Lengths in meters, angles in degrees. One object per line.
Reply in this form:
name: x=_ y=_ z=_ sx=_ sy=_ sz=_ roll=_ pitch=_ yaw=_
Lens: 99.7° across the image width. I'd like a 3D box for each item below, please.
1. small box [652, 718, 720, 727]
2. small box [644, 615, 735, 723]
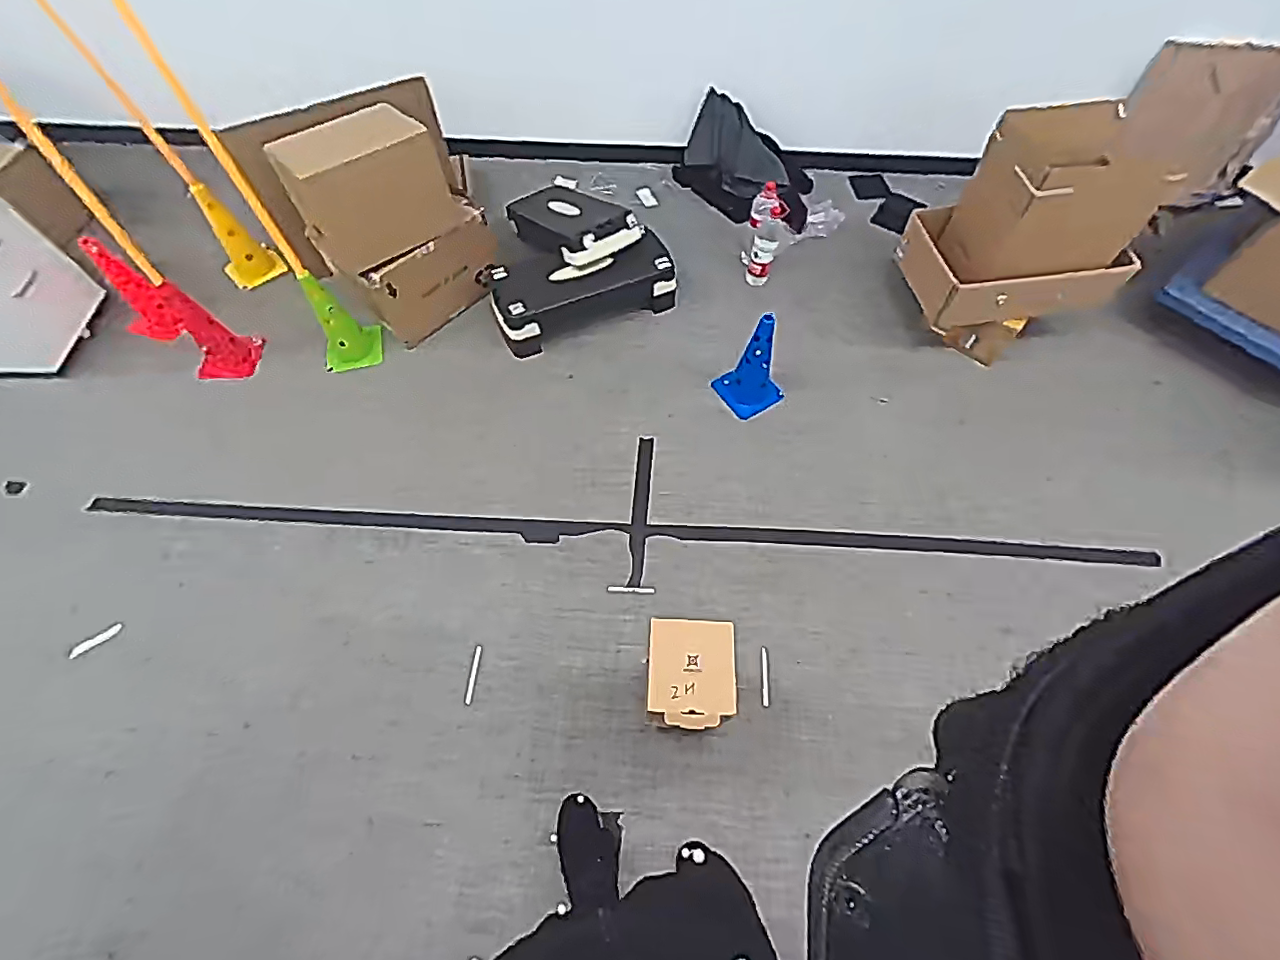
small box: x=0.114 y=0.536 z=1.390 sx=0.168 sy=0.176 sz=0.179 roll=0 pitch=61 yaw=0
small box: x=0.095 y=0.385 z=1.095 sx=0.168 sy=0.176 sz=0.179 roll=4 pitch=62 yaw=1
